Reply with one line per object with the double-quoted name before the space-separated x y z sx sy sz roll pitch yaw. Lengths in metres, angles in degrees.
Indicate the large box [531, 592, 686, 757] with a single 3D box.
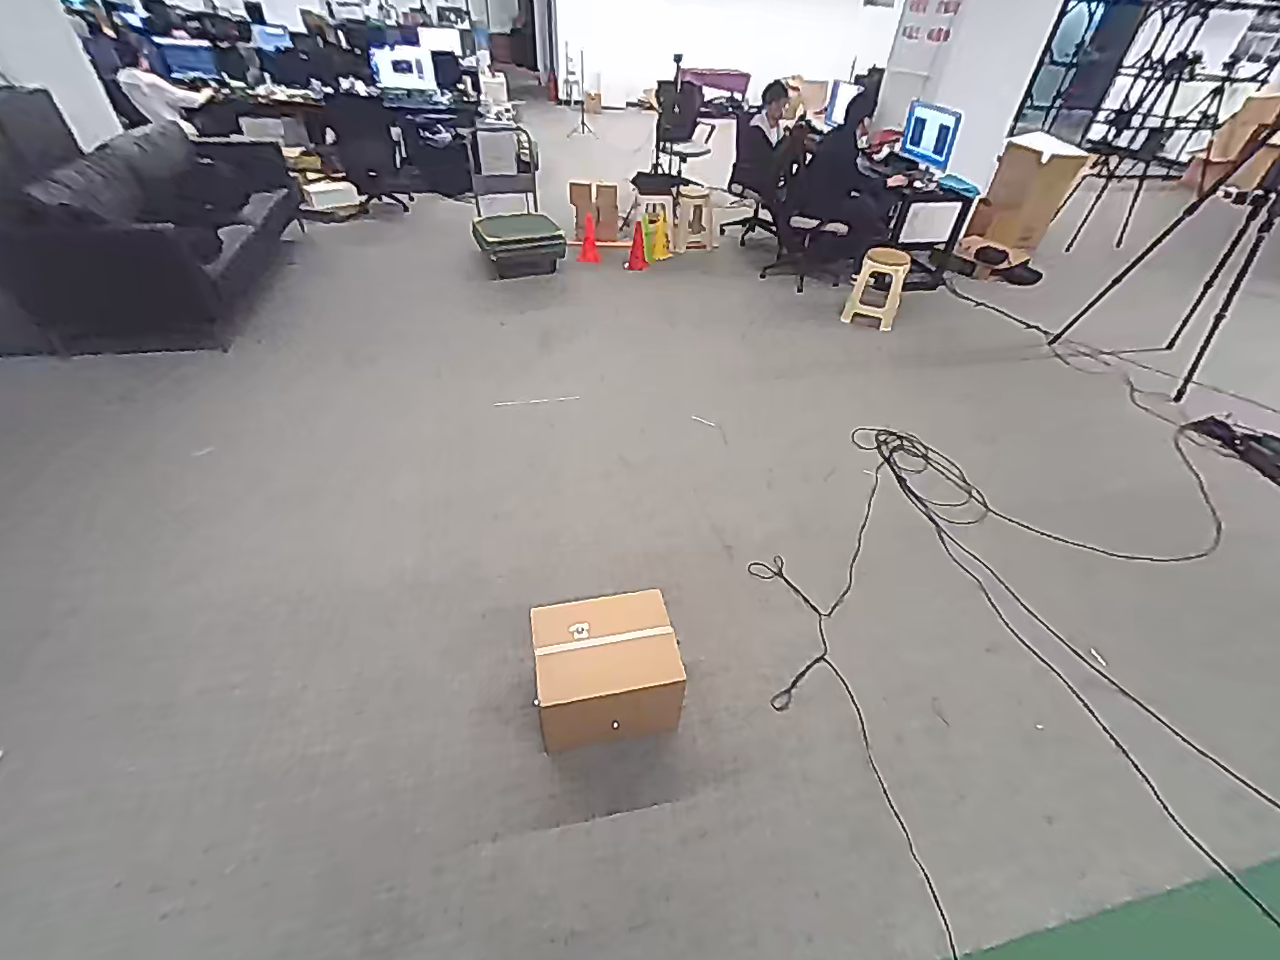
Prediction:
"large box" -0.104 0.590 1.651 0.408 0.320 0.320 -8 42 -11
